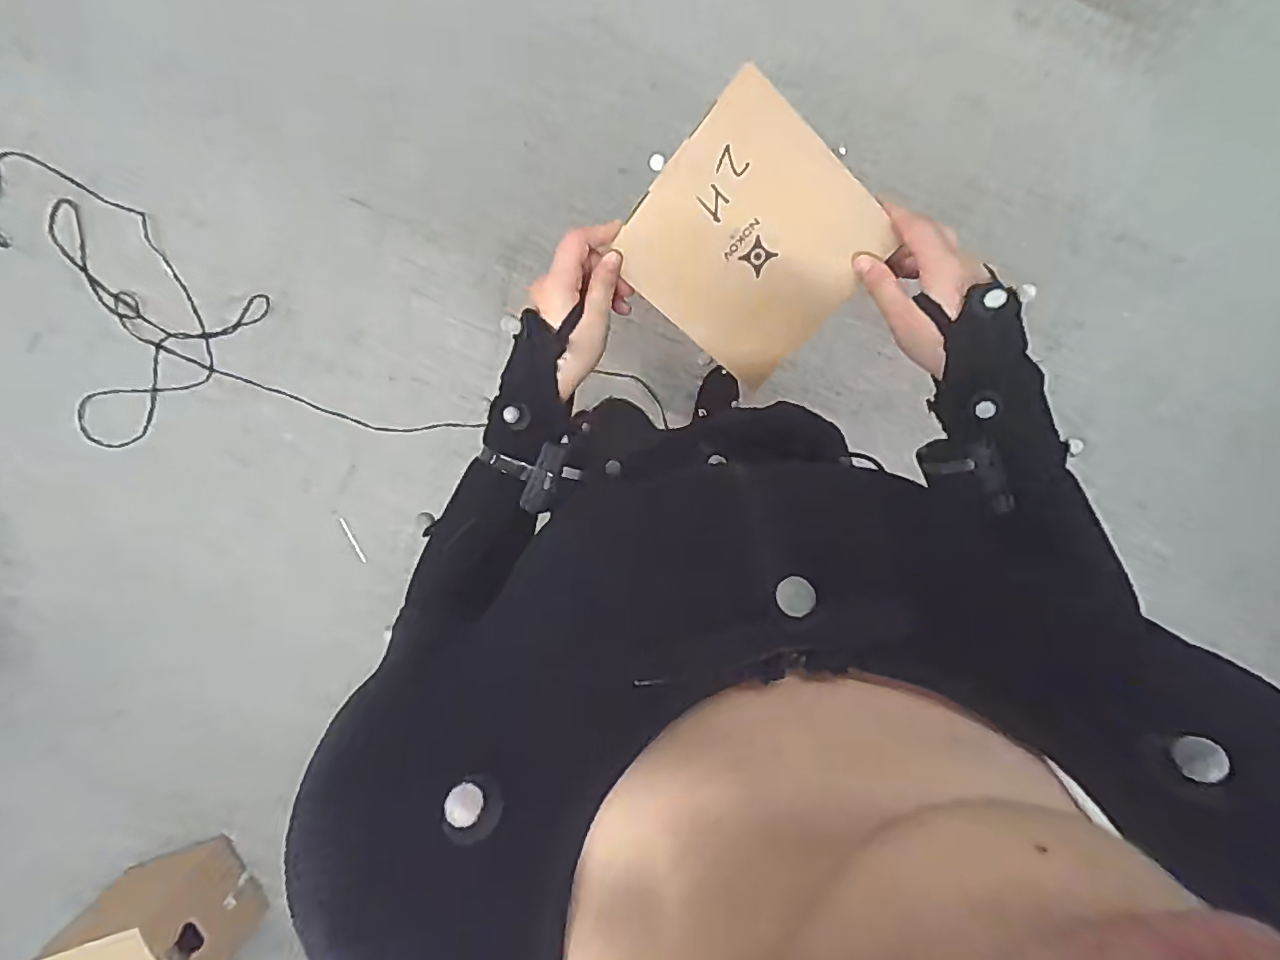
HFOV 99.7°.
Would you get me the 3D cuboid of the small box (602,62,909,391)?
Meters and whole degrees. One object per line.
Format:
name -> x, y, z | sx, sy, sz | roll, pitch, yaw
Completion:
small box -> 0.090, -0.215, 0.481 | 0.179, 0.176, 0.168 | 37, 113, -16
